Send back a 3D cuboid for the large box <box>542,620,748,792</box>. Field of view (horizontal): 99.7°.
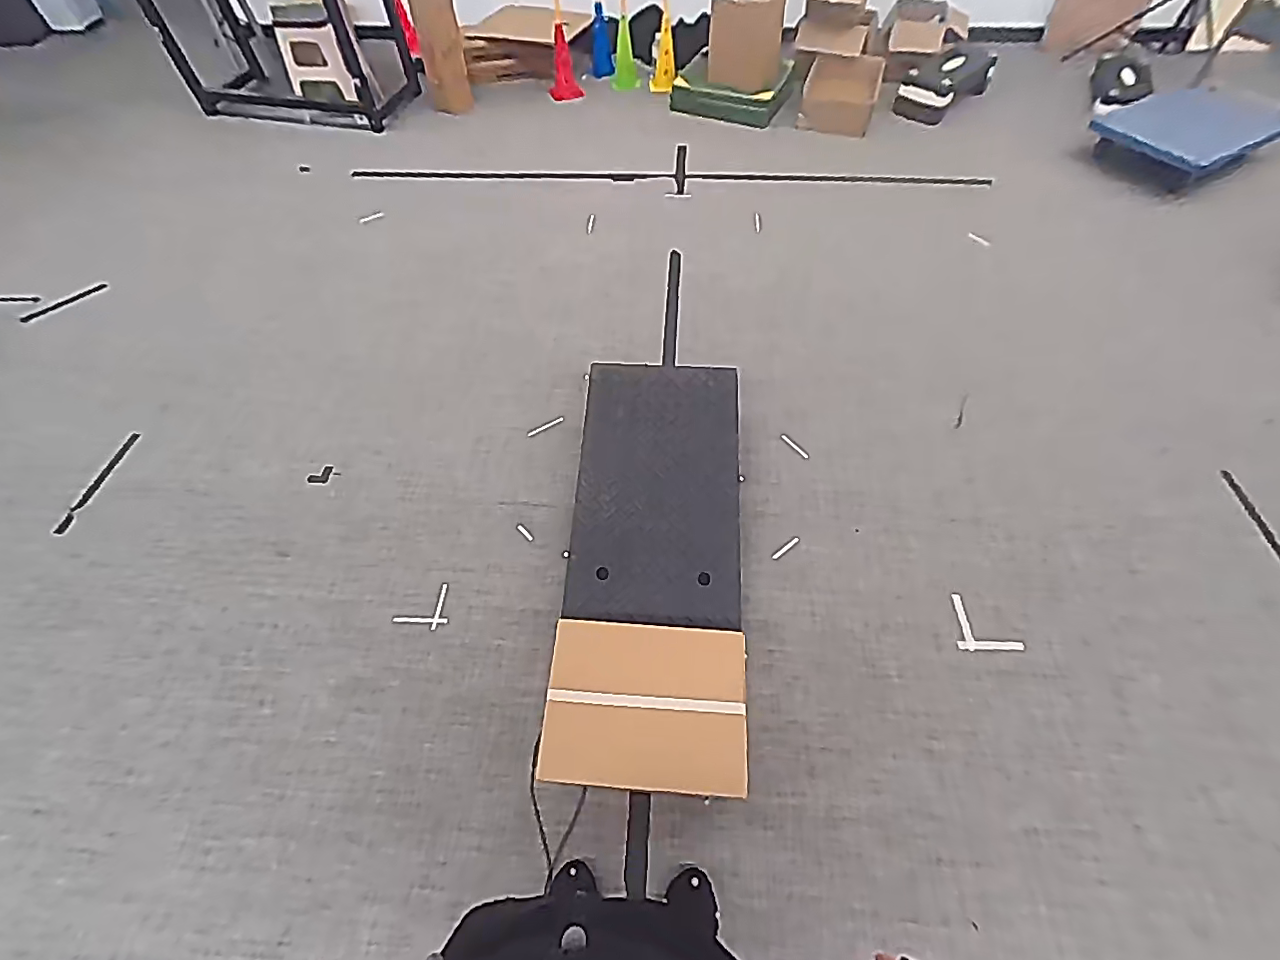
[{"bbox_3d":[0.021,0.521,1.235,0.408,0.320,0.320,3,60,3],"label":"large box"}]

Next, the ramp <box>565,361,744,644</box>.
[{"bbox_3d":[0.058,0.070,1.615,0.509,0.206,0.991,2,57,1],"label":"ramp"}]
